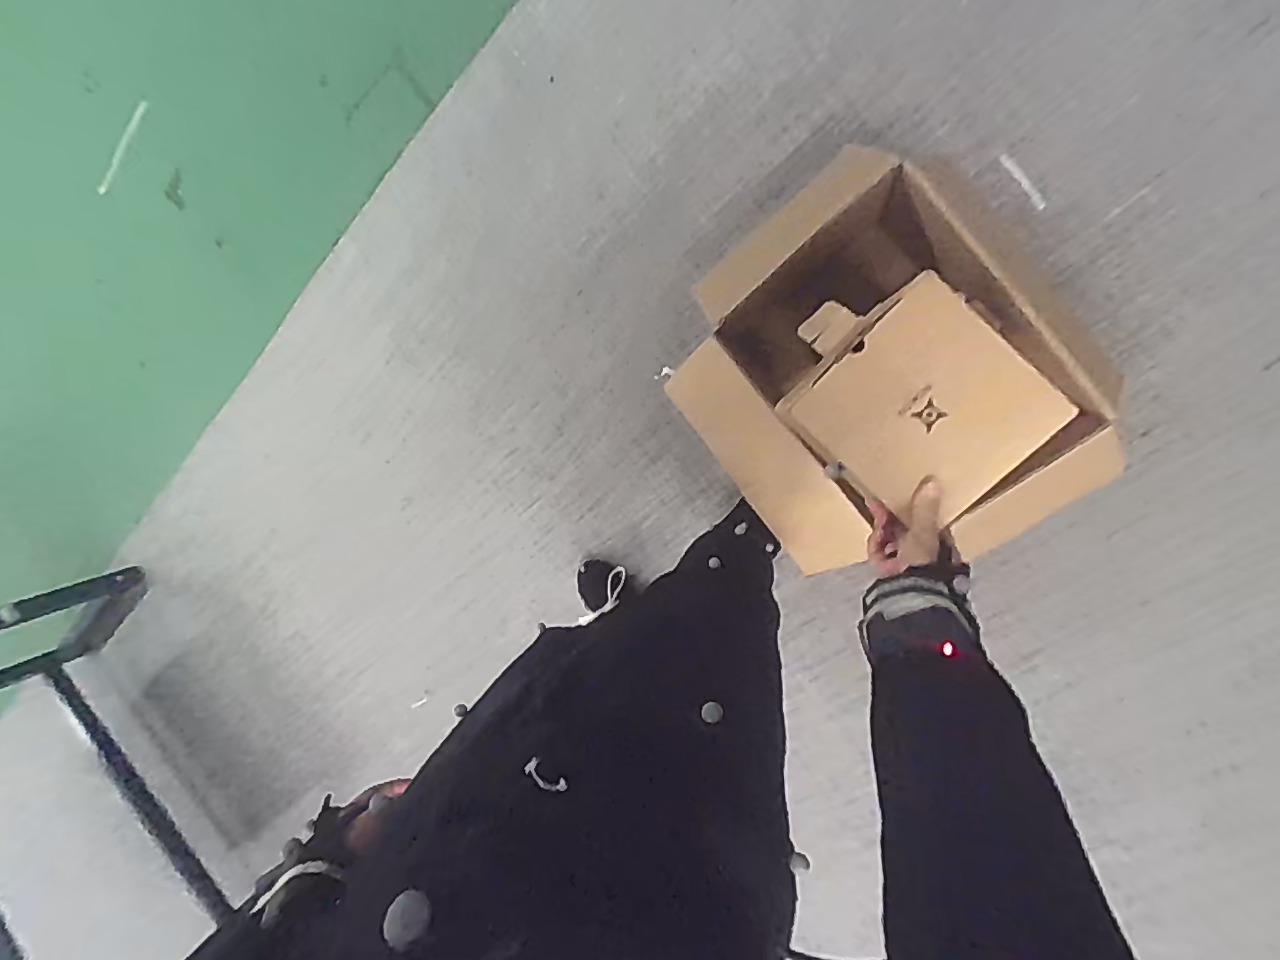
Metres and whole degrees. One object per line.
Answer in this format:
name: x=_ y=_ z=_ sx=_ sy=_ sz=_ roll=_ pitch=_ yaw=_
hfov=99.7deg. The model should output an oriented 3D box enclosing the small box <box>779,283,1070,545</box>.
small box: x=0.264 y=-0.066 z=0.553 sx=0.179 sy=0.176 sz=0.168 roll=45 pitch=103 yaw=3
